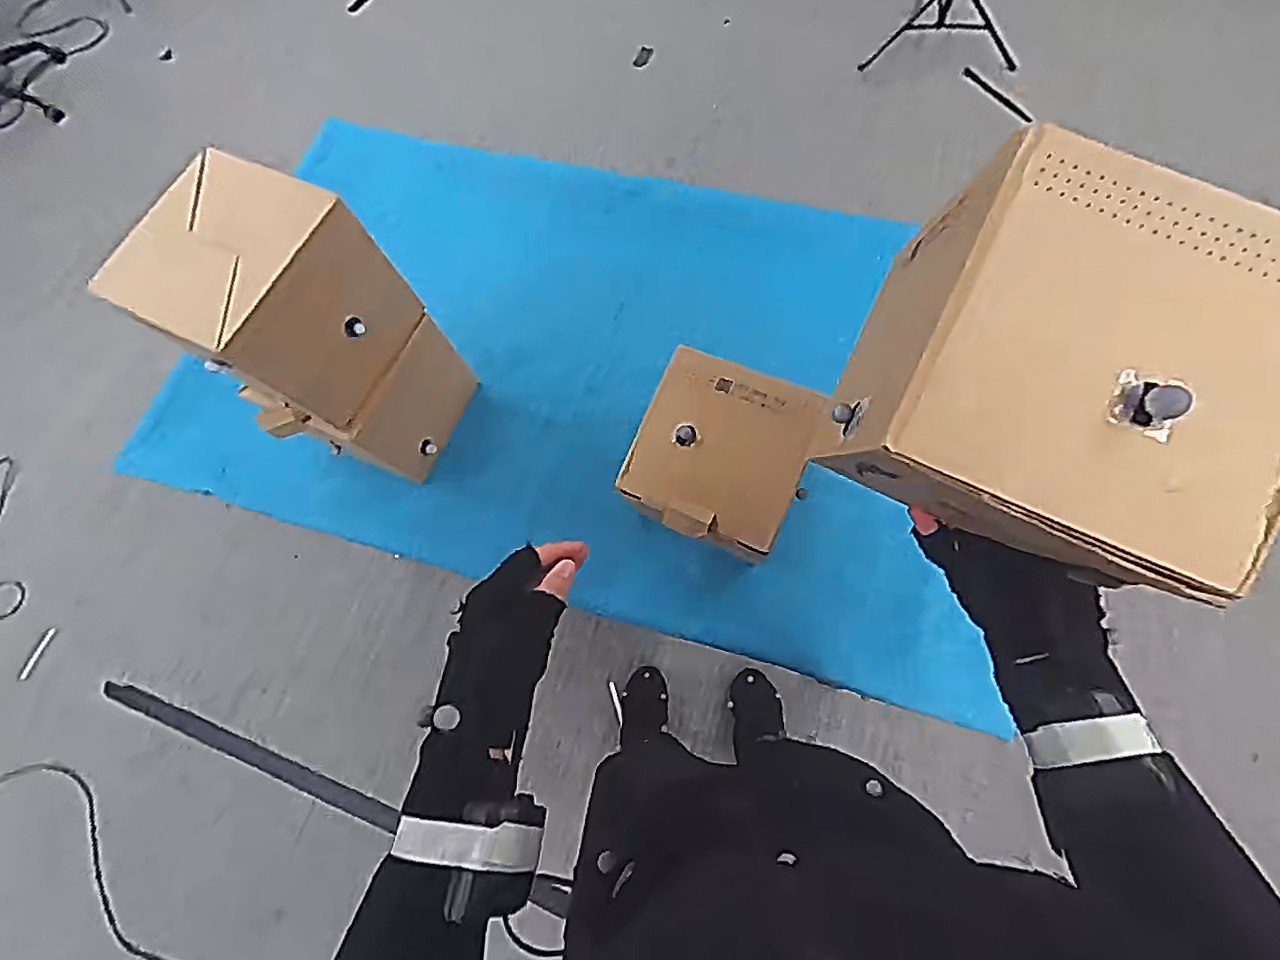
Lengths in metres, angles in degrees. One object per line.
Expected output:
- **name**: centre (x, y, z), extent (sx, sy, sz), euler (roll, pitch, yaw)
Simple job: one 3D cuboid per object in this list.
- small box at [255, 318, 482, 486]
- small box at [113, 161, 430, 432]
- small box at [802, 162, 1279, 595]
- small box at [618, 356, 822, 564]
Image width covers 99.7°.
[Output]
- **small box**: centre (-0.344, -0.118, 0.707), extent (0.168, 0.176, 0.179), euler (20, 75, 11)
- **small box**: centre (-0.363, -0.181, 0.556), extent (0.168, 0.176, 0.179), euler (24, 78, 13)
- **small box**: centre (0.230, -0.055, 0.335), extent (0.179, 0.168, 0.176), euler (24, 92, 4)
- **small box**: centre (0.094, -0.018, 0.617), extent (0.168, 0.179, 0.176), euler (24, 83, 12)
